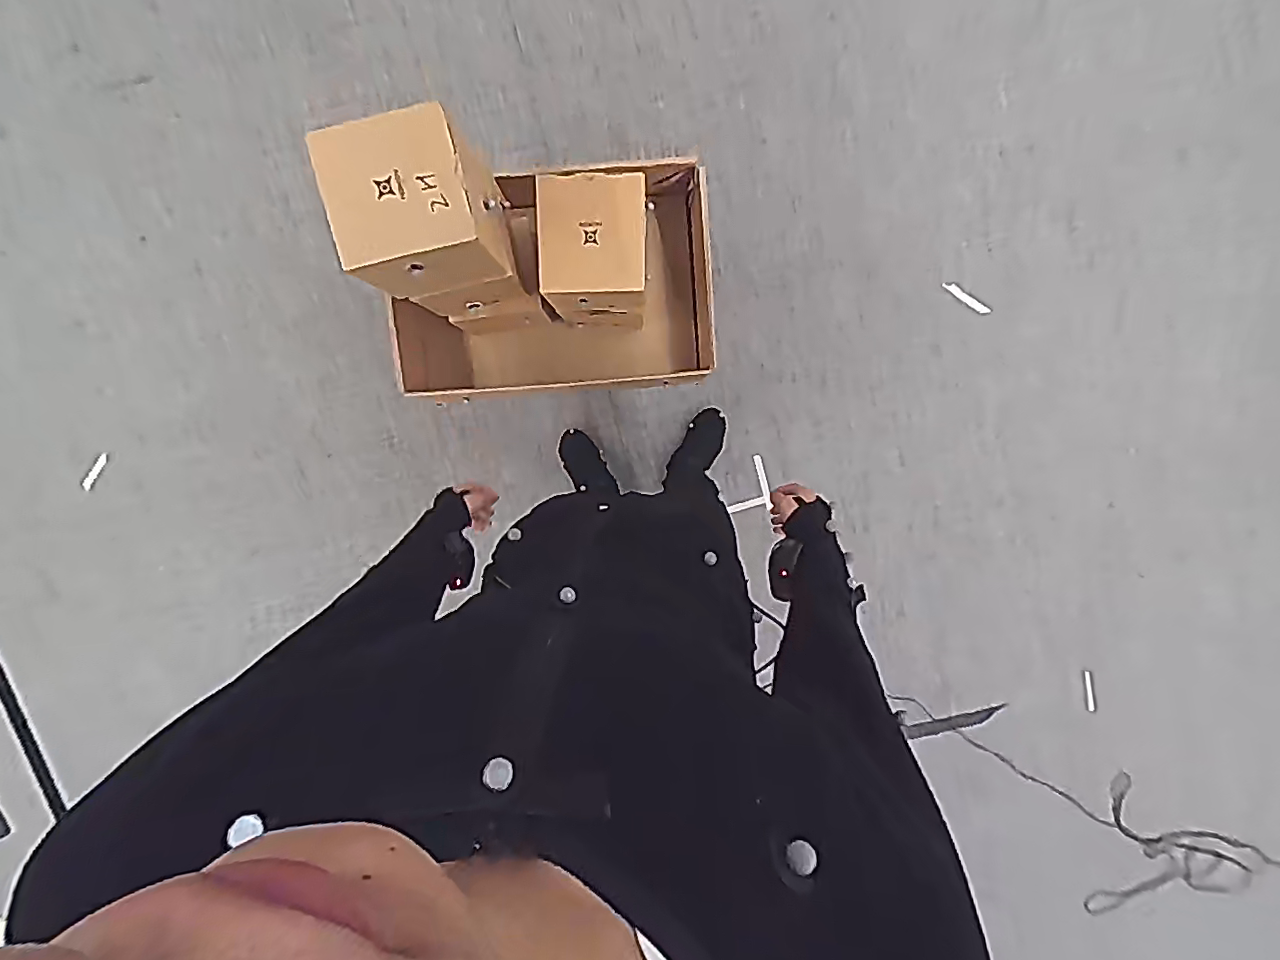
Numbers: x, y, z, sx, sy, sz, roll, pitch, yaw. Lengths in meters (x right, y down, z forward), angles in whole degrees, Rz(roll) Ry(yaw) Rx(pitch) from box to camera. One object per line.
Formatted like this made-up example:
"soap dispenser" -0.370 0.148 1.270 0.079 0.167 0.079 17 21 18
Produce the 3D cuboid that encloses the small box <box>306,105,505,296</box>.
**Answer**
"small box" -0.303 -0.363 0.737 0.179 0.176 0.168 -13 98 0

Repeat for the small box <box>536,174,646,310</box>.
"small box" -0.074 -0.384 0.905 0.168 0.176 0.179 -1 97 1
